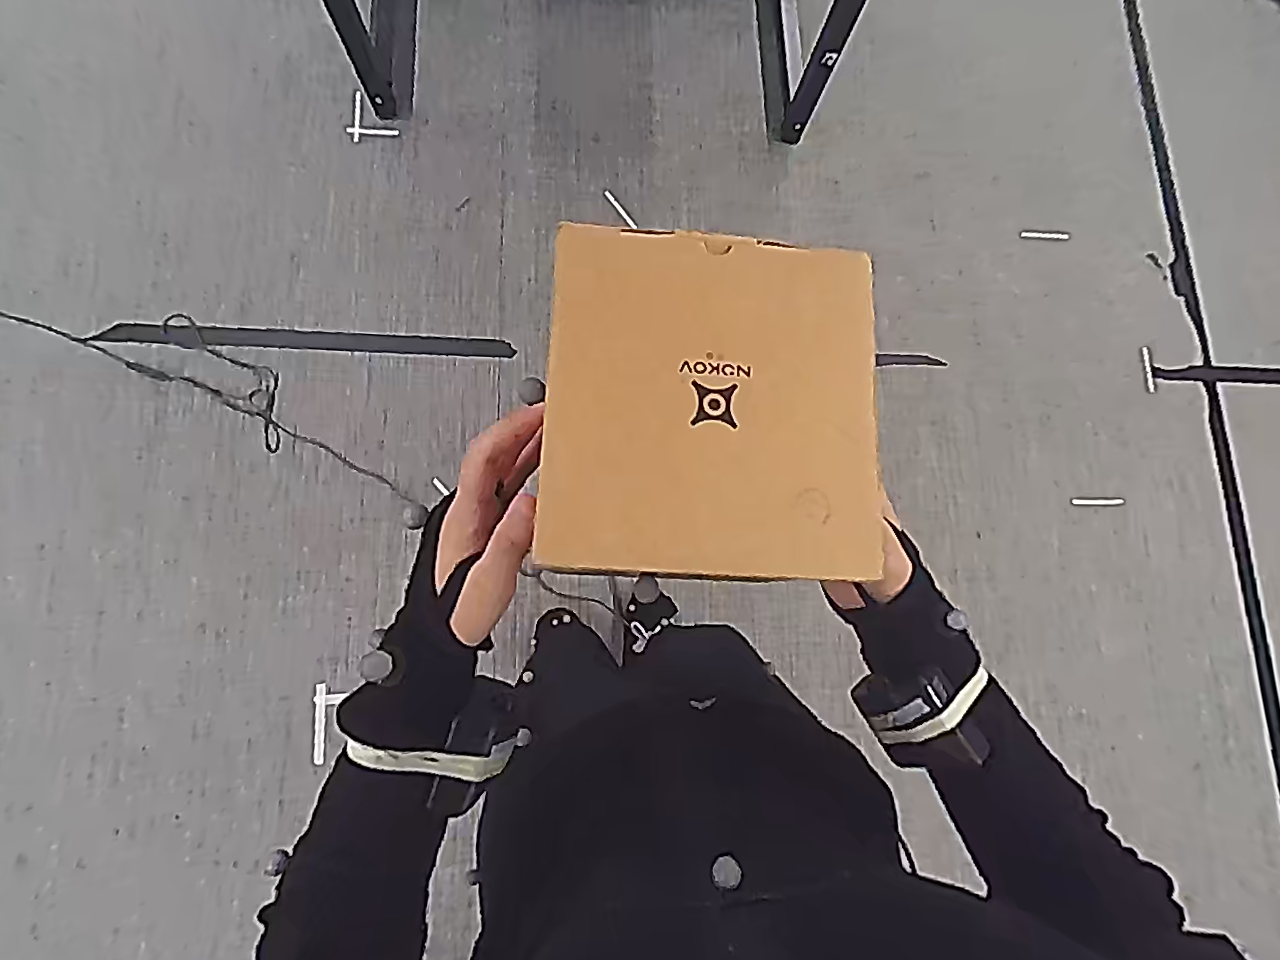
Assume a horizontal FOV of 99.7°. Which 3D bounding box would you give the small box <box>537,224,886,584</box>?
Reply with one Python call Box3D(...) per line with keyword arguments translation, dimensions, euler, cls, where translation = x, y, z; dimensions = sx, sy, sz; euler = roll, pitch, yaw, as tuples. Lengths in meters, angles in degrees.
Box3D(translation=(0.031, -0.026, 0.343), dimensions=(0.168, 0.176, 0.179), euler=(3, 77, -5), cls="small box")
